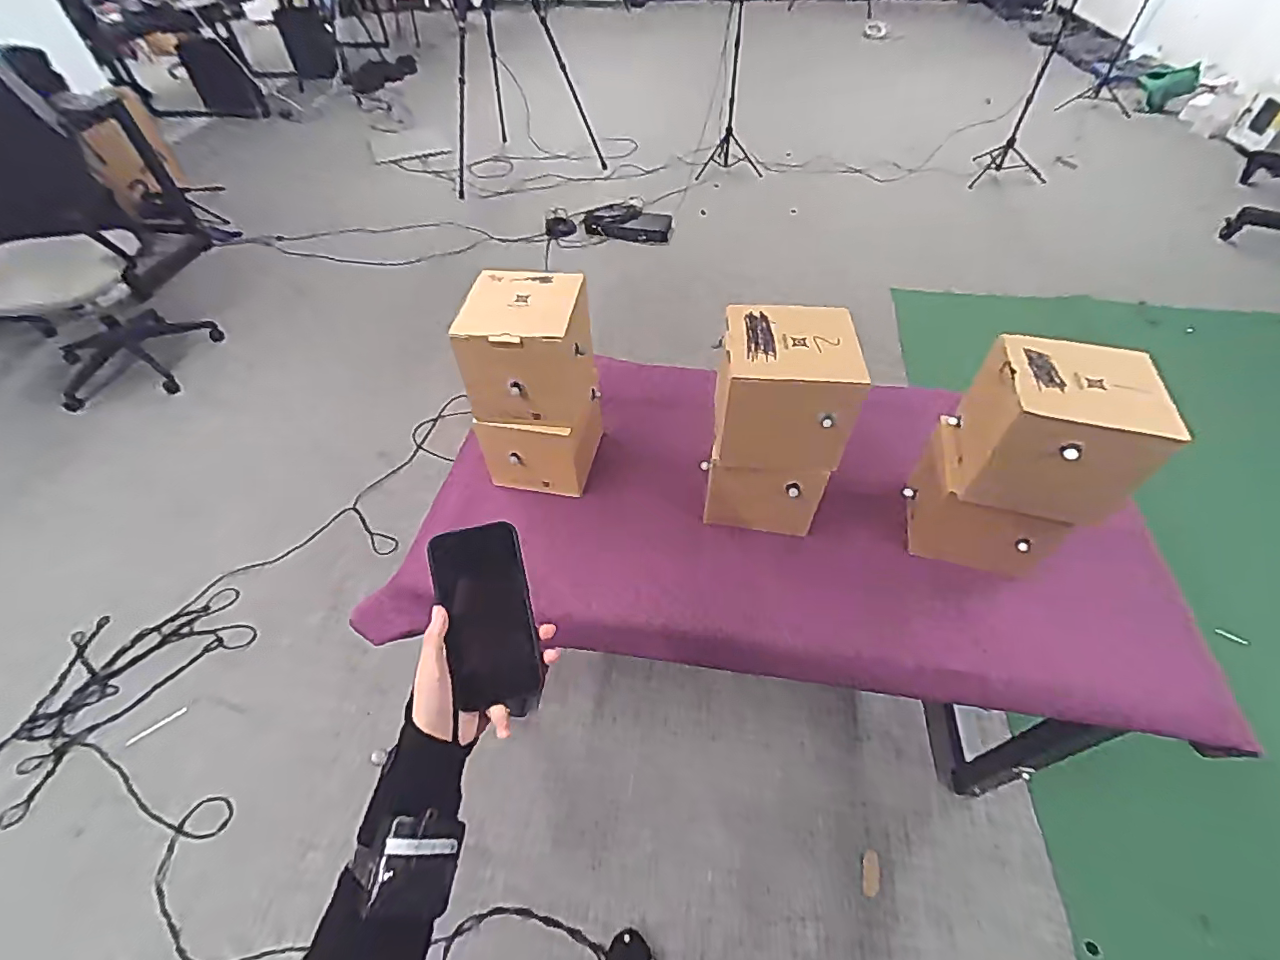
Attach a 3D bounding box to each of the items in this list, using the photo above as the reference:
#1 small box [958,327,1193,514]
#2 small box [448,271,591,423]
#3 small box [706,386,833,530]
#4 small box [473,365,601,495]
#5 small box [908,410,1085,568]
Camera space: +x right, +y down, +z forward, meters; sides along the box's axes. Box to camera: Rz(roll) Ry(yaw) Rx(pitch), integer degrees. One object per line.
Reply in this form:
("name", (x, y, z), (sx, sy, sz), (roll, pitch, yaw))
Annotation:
("small box", (0.543, -0.075, 0.713), (0.179, 0.176, 0.168), (12, 51, 11))
("small box", (-0.174, -0.206, 0.850), (0.168, 0.176, 0.179), (4, 51, 4))
("small box", (0.210, -0.033, 0.902), (0.179, 0.176, 0.168), (7, 50, 8))
("small box", (-0.170, -0.094, 0.970), (0.168, 0.176, 0.179), (7, 50, 8))
("small box", (0.542, 0.018, 0.848), (0.179, 0.176, 0.168), (12, 51, 12))
